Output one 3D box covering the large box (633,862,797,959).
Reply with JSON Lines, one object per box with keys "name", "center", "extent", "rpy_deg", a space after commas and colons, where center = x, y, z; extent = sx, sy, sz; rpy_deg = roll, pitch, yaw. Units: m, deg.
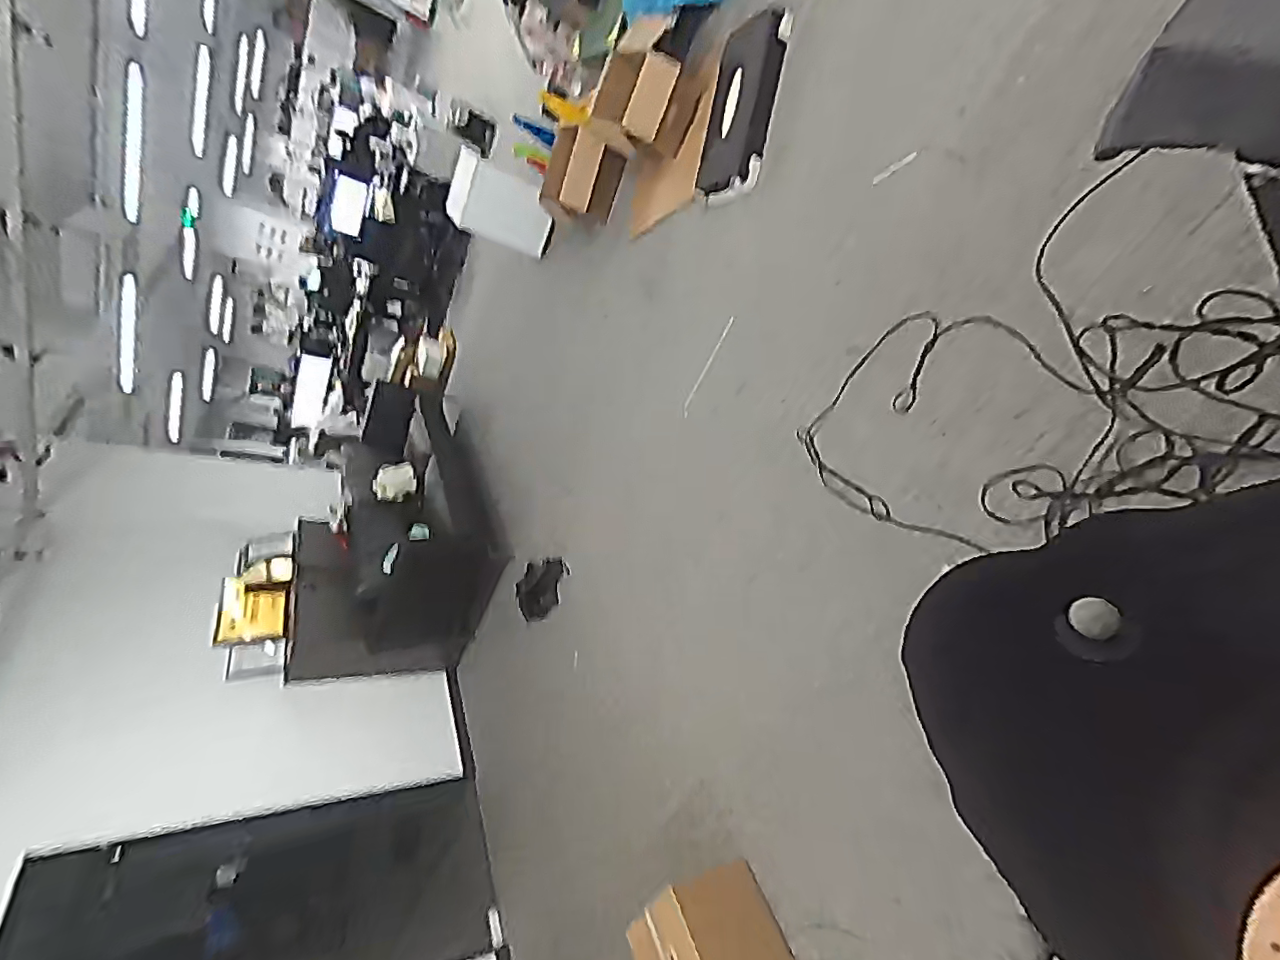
{"name": "large box", "center": [0.241, 1.430, 1.567], "extent": [0.320, 0.320, 0.408], "rpy_deg": [-61, 38, 24]}
